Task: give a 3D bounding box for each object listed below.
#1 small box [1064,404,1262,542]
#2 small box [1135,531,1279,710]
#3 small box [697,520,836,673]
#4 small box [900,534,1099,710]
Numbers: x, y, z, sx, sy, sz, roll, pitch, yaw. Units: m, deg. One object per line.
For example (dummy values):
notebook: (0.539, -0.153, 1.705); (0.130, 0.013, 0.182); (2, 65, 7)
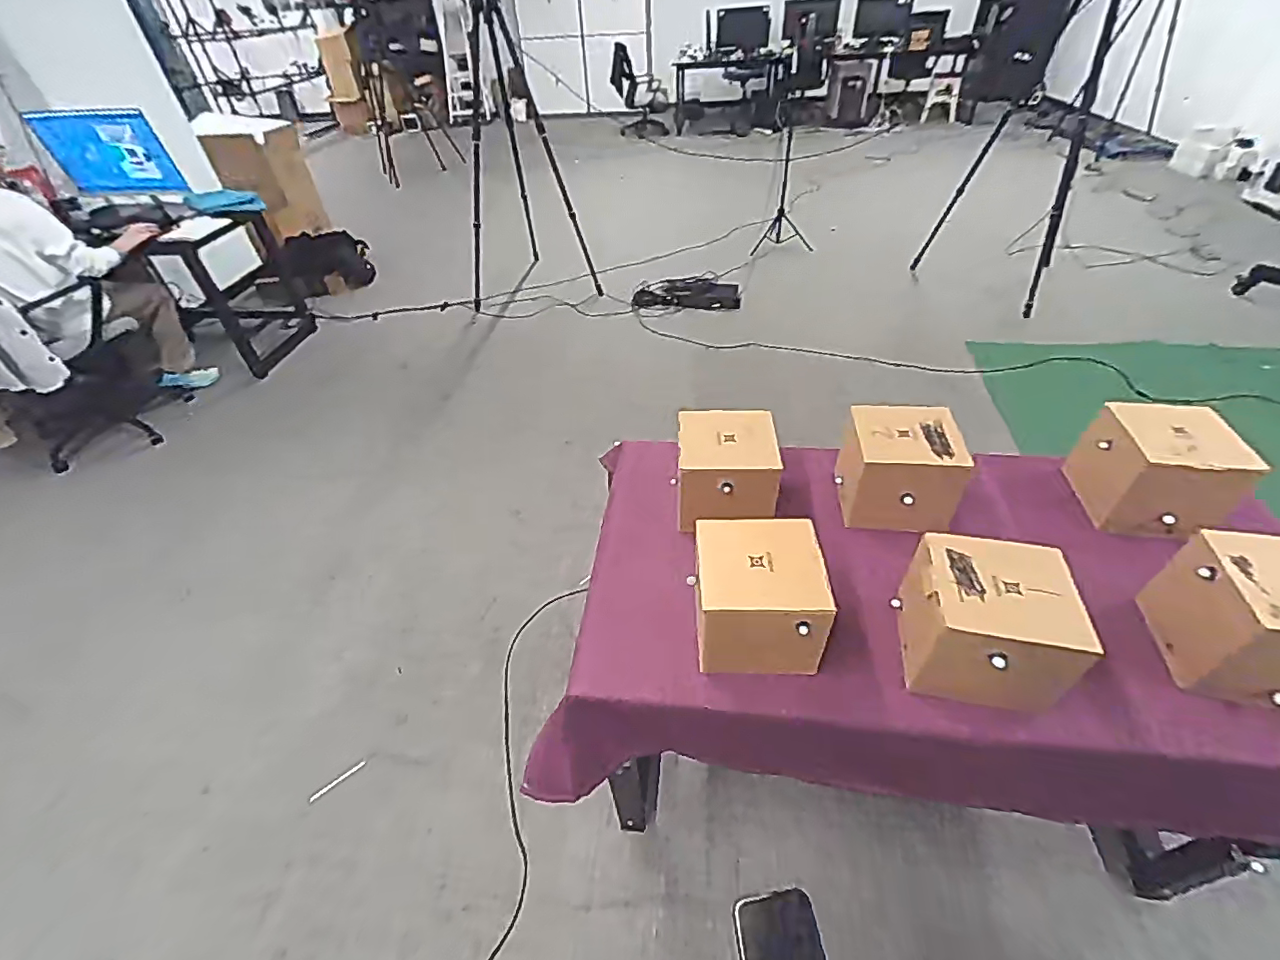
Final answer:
small box: (0.911, -0.015, 0.969); (0.168, 0.176, 0.179); (5, 44, 10)
small box: (0.855, 0.197, 0.745); (0.179, 0.176, 0.168); (8, 43, 12)
small box: (0.176, 0.177, 0.819); (0.179, 0.176, 0.168); (0, 42, 2)
small box: (0.484, 0.202, 0.767); (0.179, 0.176, 0.168); (8, 44, 11)
